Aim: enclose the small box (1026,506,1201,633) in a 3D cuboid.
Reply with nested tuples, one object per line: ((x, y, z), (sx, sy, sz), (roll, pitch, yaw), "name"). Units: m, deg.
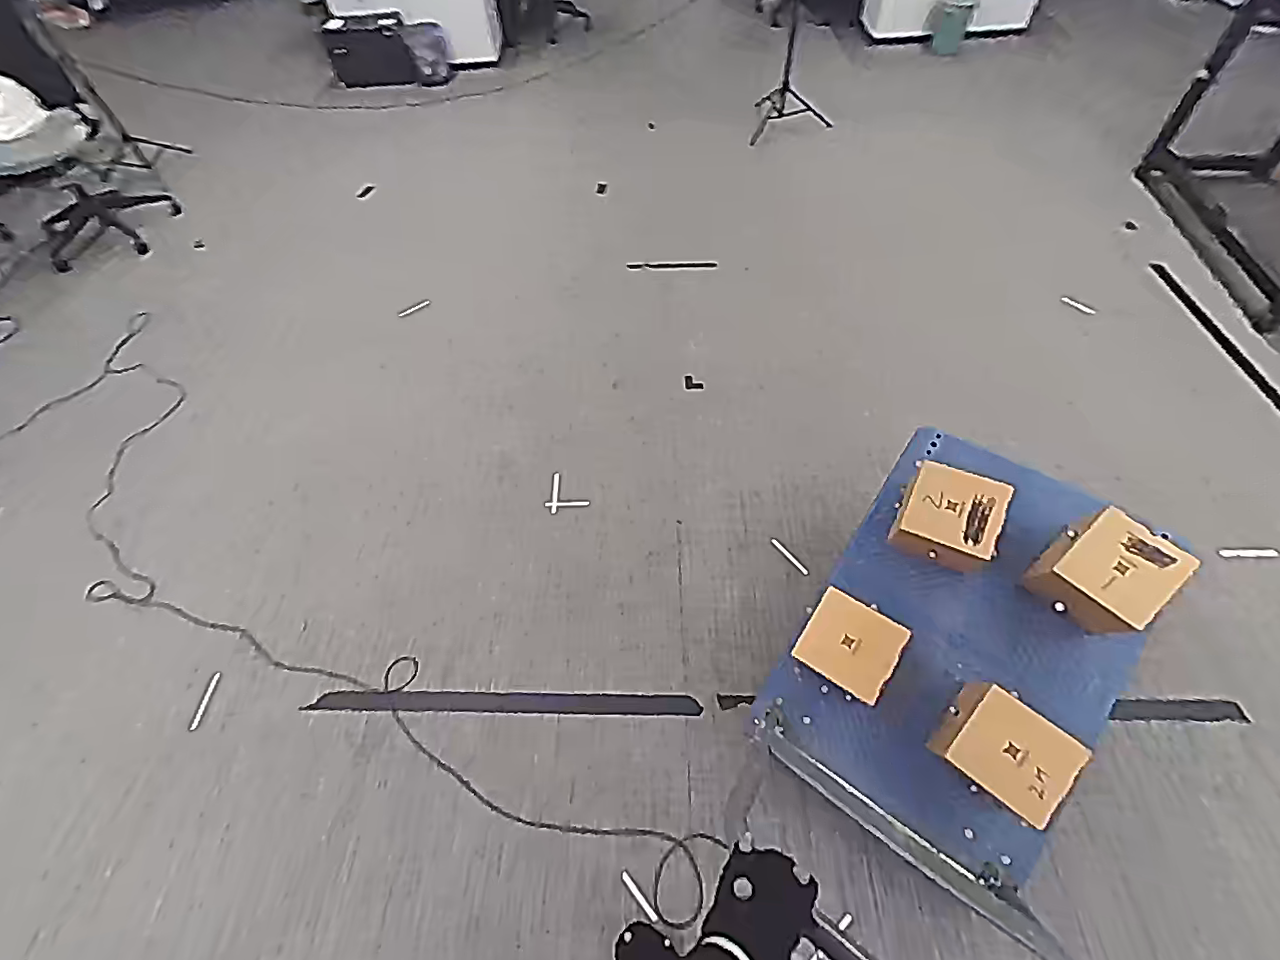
((0.920, 0.183, 1.074), (0.179, 0.176, 0.168), (-46, 66, -3), "small box")

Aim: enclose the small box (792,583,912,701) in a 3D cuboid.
((0.438, 0.345, 1.149), (0.179, 0.176, 0.168), (30, 81, 21), "small box")

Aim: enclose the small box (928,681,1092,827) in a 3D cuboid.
((0.683, 0.506, 1.026), (0.179, 0.176, 0.168), (37, 84, 23), "small box")
